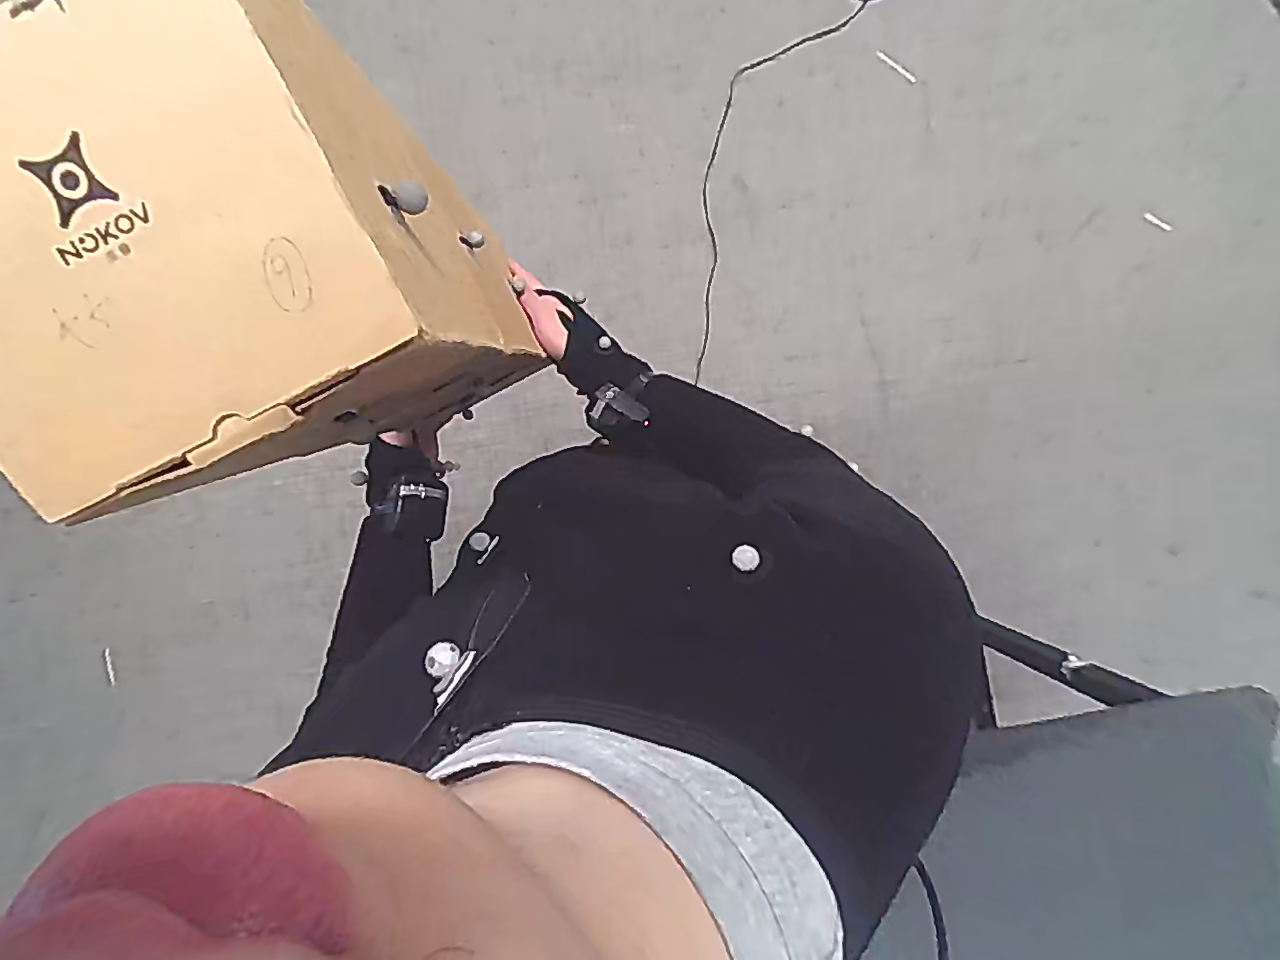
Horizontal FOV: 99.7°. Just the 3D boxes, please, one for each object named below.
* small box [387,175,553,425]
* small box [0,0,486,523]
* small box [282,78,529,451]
[{"bbox_3d":[-0.208,-0.179,0.574,0.168,0.176,0.179,-26,101,4],"label":"small box"},{"bbox_3d":[-0.196,-0.110,0.256,0.168,0.176,0.179,-25,104,2],"label":"small box"},{"bbox_3d":[-0.203,-0.145,0.417,0.168,0.176,0.179,-26,101,3],"label":"small box"}]
